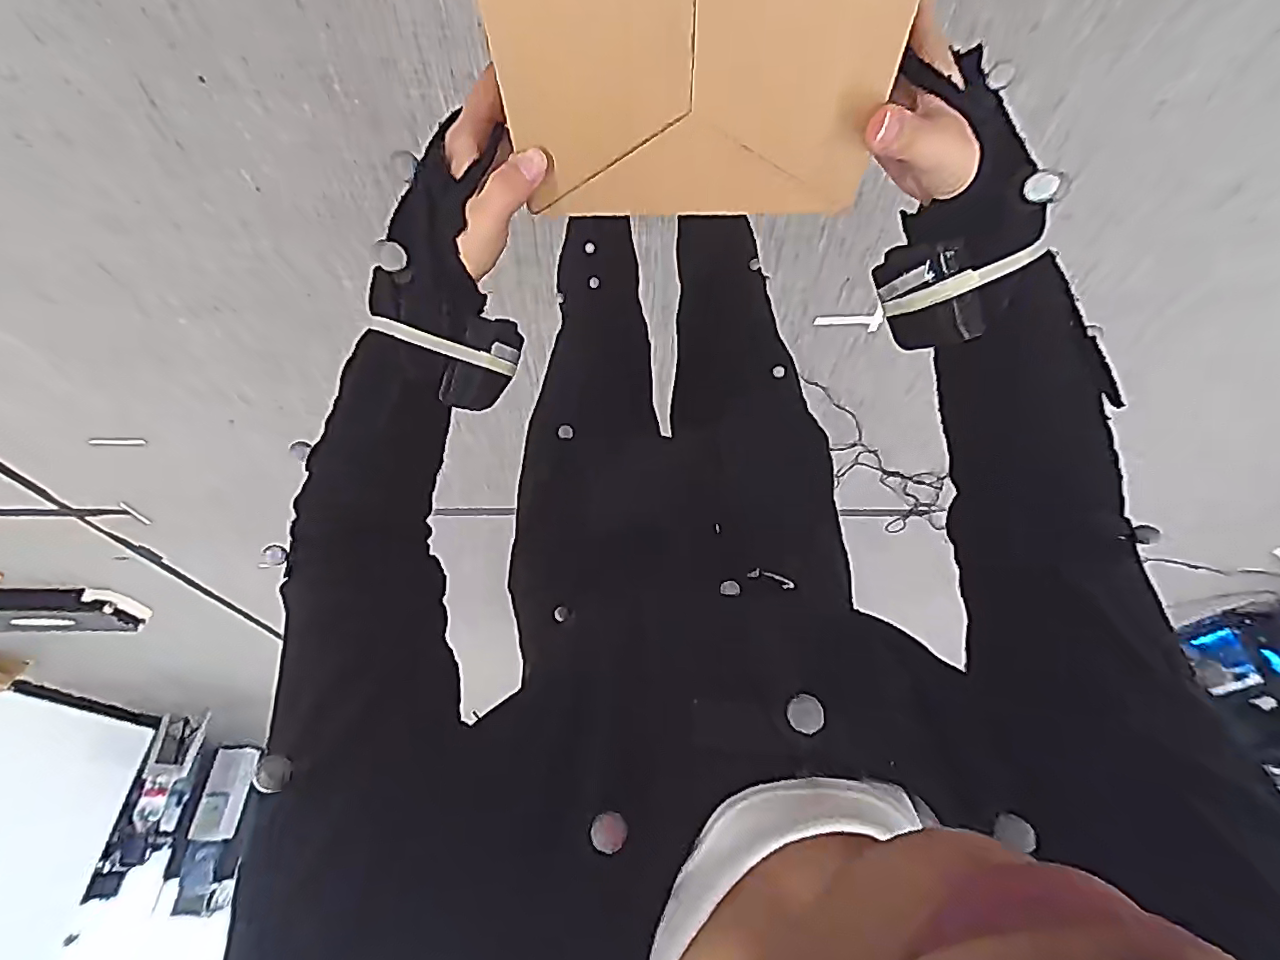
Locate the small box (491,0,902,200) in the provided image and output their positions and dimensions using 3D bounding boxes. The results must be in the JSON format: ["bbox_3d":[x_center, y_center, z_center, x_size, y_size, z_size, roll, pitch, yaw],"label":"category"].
[{"bbox_3d":[0.029,-0.261,0.261,0.179,0.176,0.168,1,151,3],"label":"small box"}]
